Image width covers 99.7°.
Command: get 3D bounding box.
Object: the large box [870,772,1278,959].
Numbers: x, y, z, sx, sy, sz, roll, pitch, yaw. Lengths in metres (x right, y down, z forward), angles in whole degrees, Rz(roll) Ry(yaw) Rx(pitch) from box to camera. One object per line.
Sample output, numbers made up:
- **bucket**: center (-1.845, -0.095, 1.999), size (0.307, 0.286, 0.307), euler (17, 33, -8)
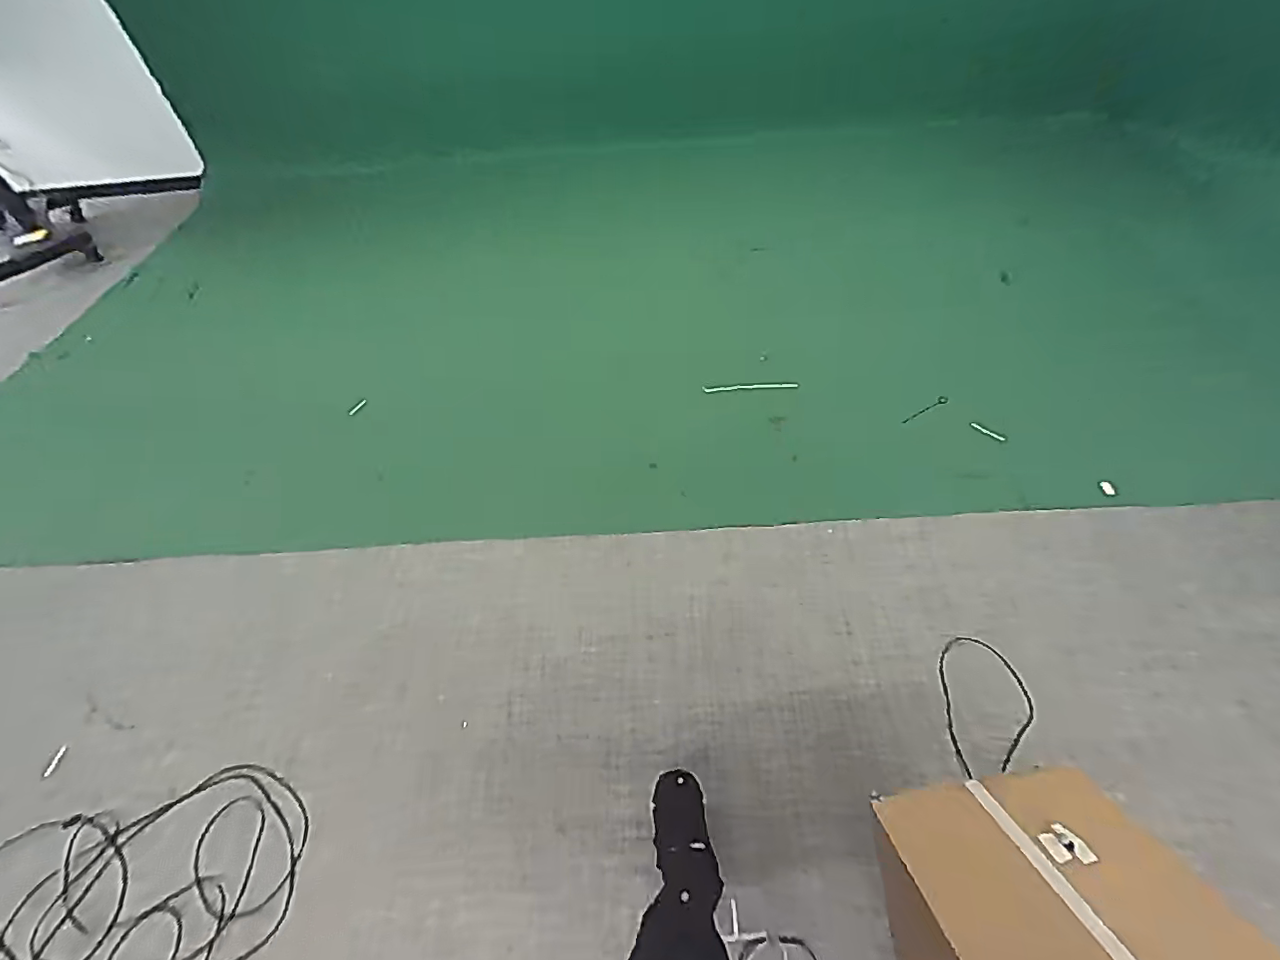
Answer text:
- **large box**: center (0.546, 0.662, 0.677), size (0.320, 0.320, 0.408), euler (-11, 8, 1)
